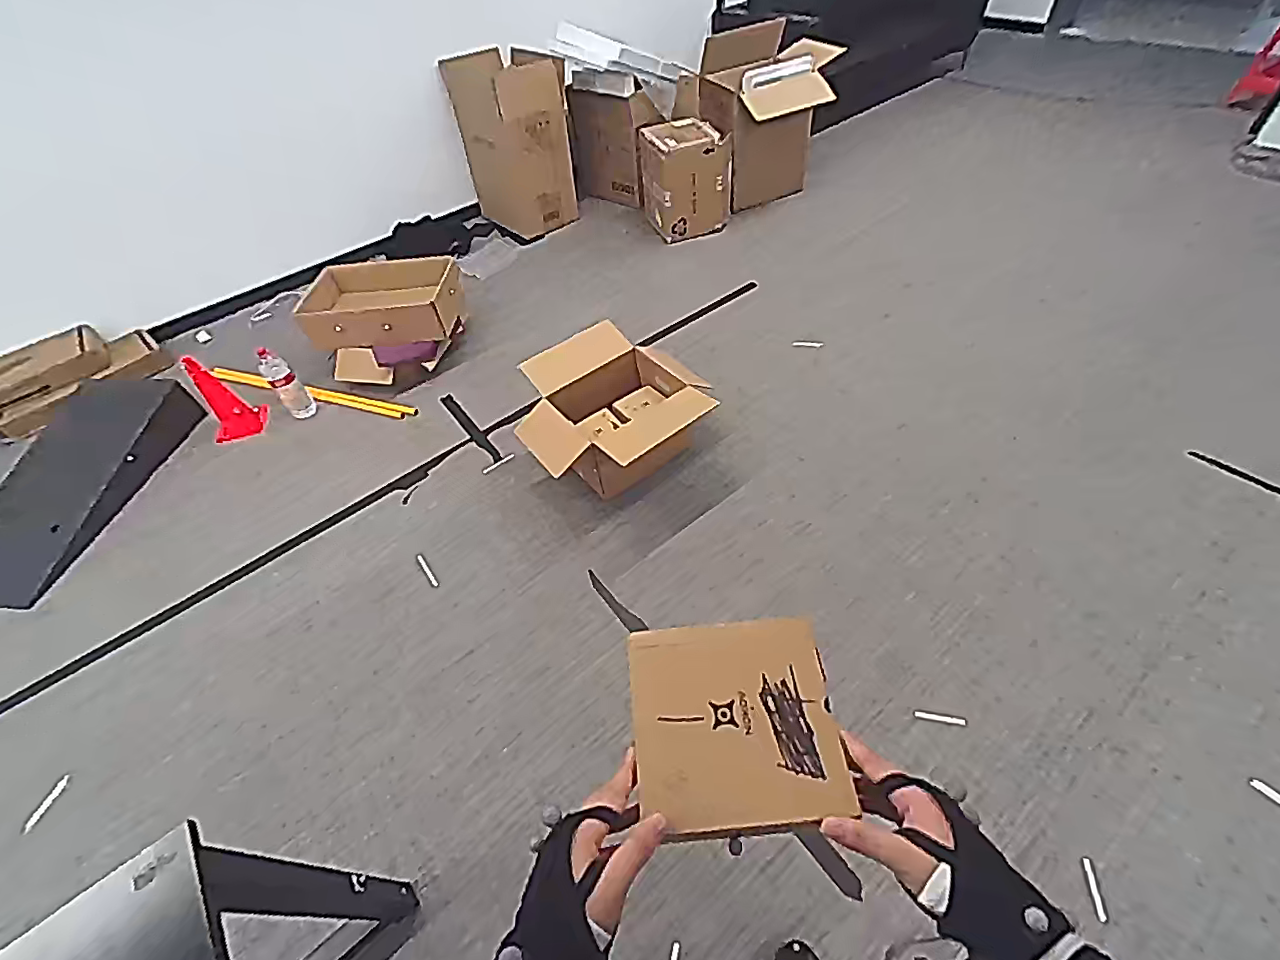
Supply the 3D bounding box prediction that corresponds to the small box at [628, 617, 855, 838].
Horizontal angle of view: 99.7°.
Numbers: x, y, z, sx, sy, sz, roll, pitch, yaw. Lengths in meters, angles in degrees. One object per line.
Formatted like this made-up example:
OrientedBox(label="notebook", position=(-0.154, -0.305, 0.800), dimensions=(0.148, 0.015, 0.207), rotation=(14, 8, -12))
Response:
OrientedBox(label="small box", position=(0.082, 0.248, 0.534), dimensions=(0.179, 0.176, 0.168), rotation=(-5, 55, 0))
